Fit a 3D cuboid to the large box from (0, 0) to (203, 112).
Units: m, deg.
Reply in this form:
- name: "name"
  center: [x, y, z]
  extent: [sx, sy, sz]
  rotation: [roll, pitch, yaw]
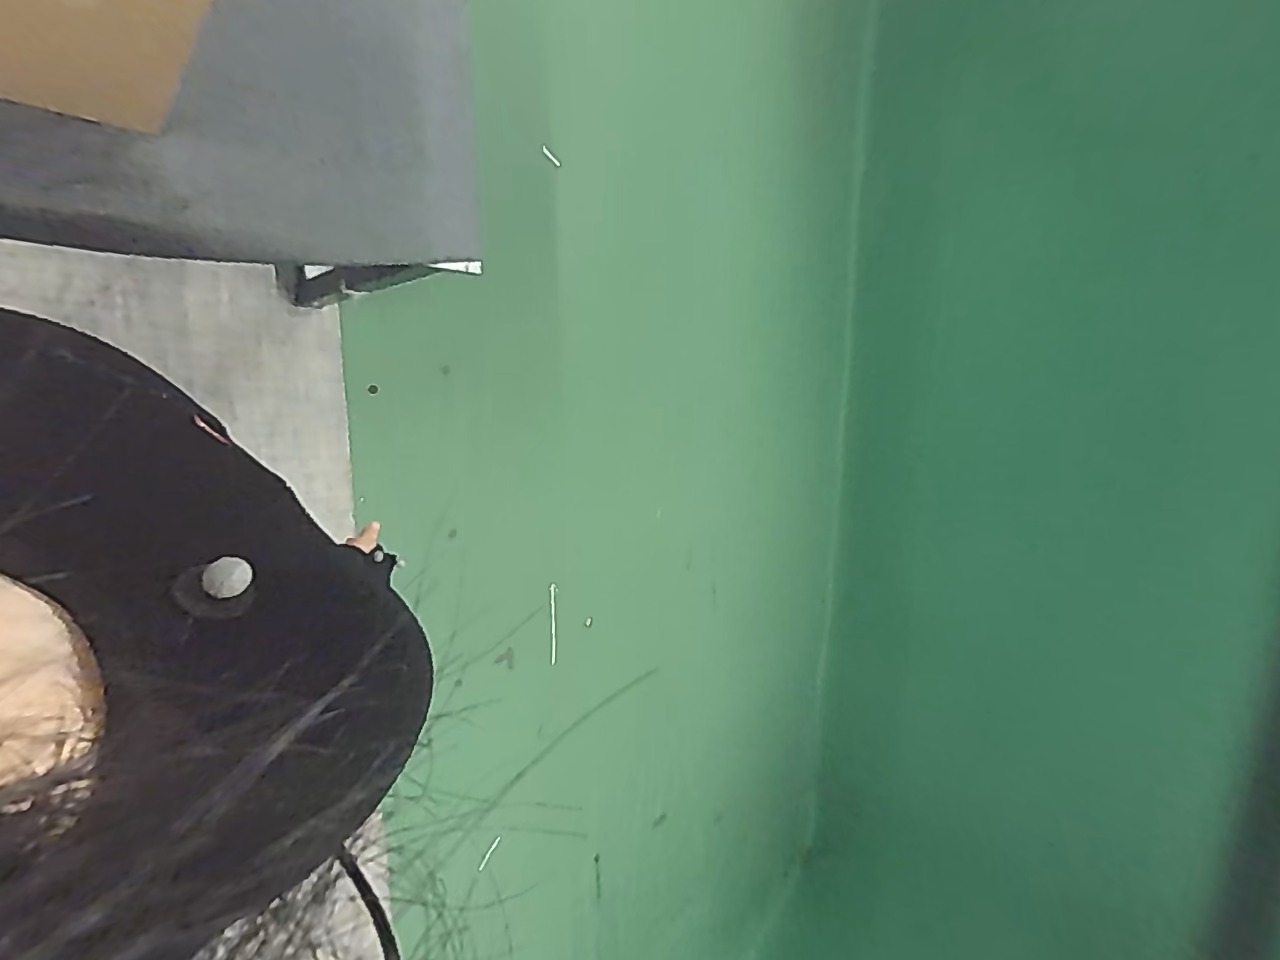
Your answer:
- name: "large box"
  center: [-0.541, -0.485, 0.304]
  extent: [0.408, 0.320, 0.320]
  rotation: [-13, 107, -46]
